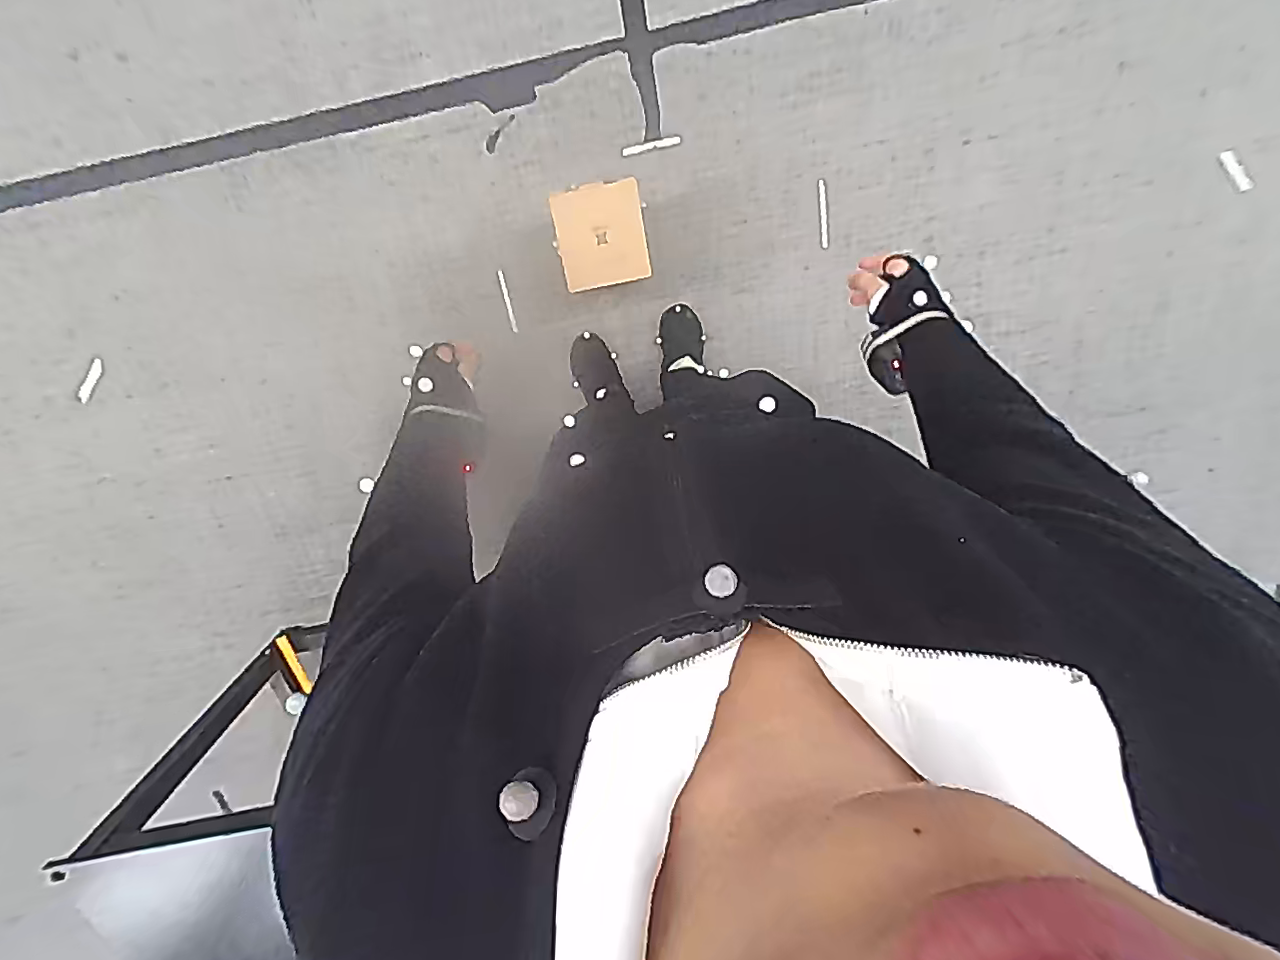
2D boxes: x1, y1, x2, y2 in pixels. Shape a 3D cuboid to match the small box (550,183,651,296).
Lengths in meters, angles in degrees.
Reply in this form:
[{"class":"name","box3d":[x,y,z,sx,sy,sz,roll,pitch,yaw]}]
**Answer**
[{"class":"small box","box3d":[-0.076,-0.480,1.095,0.168,0.176,0.179,-11,112,3]}]
